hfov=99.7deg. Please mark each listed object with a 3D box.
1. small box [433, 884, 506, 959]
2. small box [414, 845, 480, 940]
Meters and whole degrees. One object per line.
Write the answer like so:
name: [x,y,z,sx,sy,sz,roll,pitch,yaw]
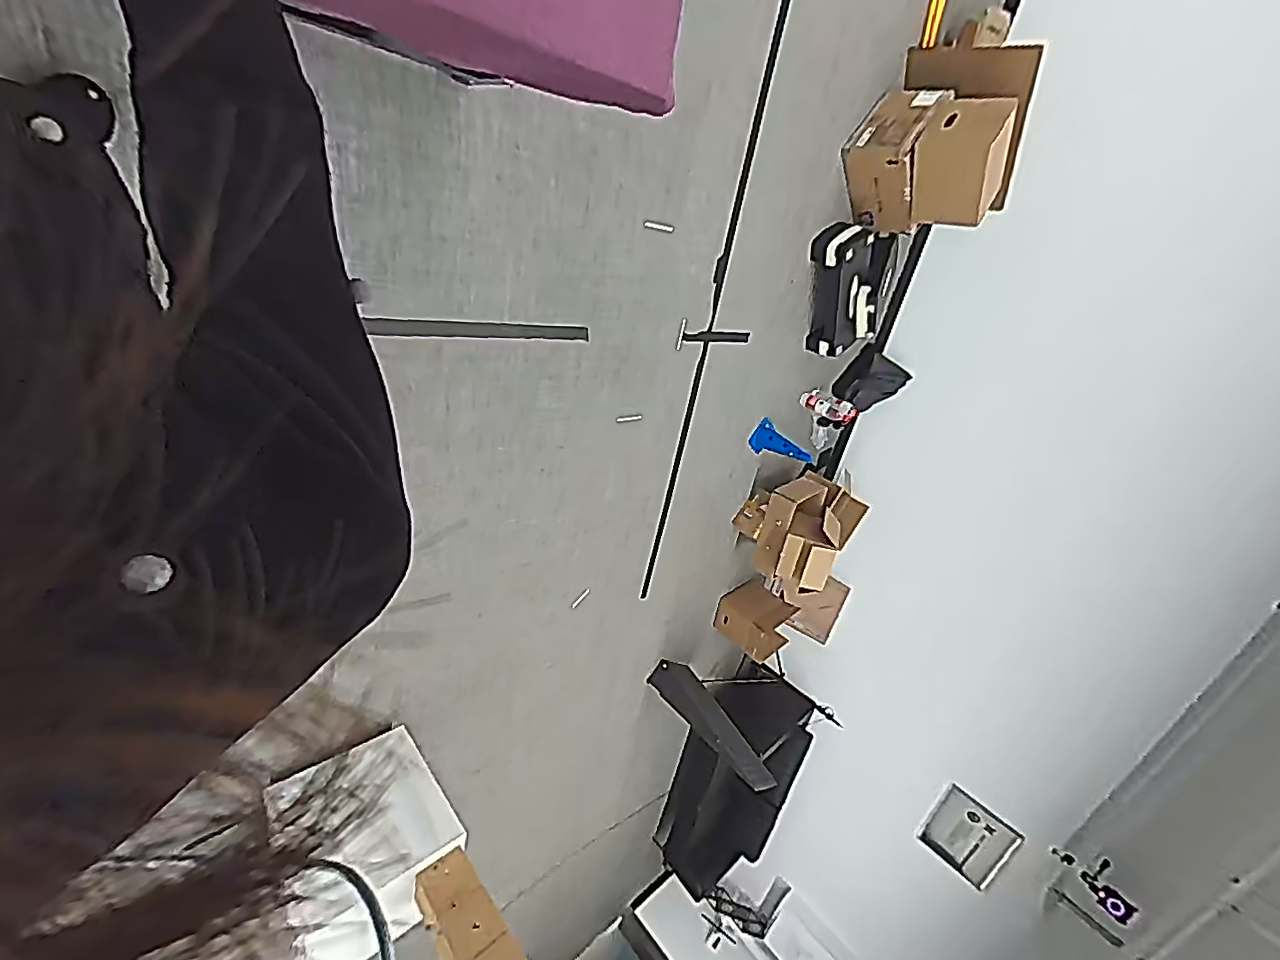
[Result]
small box: [-0.575,1.520,1.811,0.179,0.176,0.168,-13,127,-43]
small box: [-0.686,1.449,1.910,0.168,0.176,0.179,-13,127,-42]
